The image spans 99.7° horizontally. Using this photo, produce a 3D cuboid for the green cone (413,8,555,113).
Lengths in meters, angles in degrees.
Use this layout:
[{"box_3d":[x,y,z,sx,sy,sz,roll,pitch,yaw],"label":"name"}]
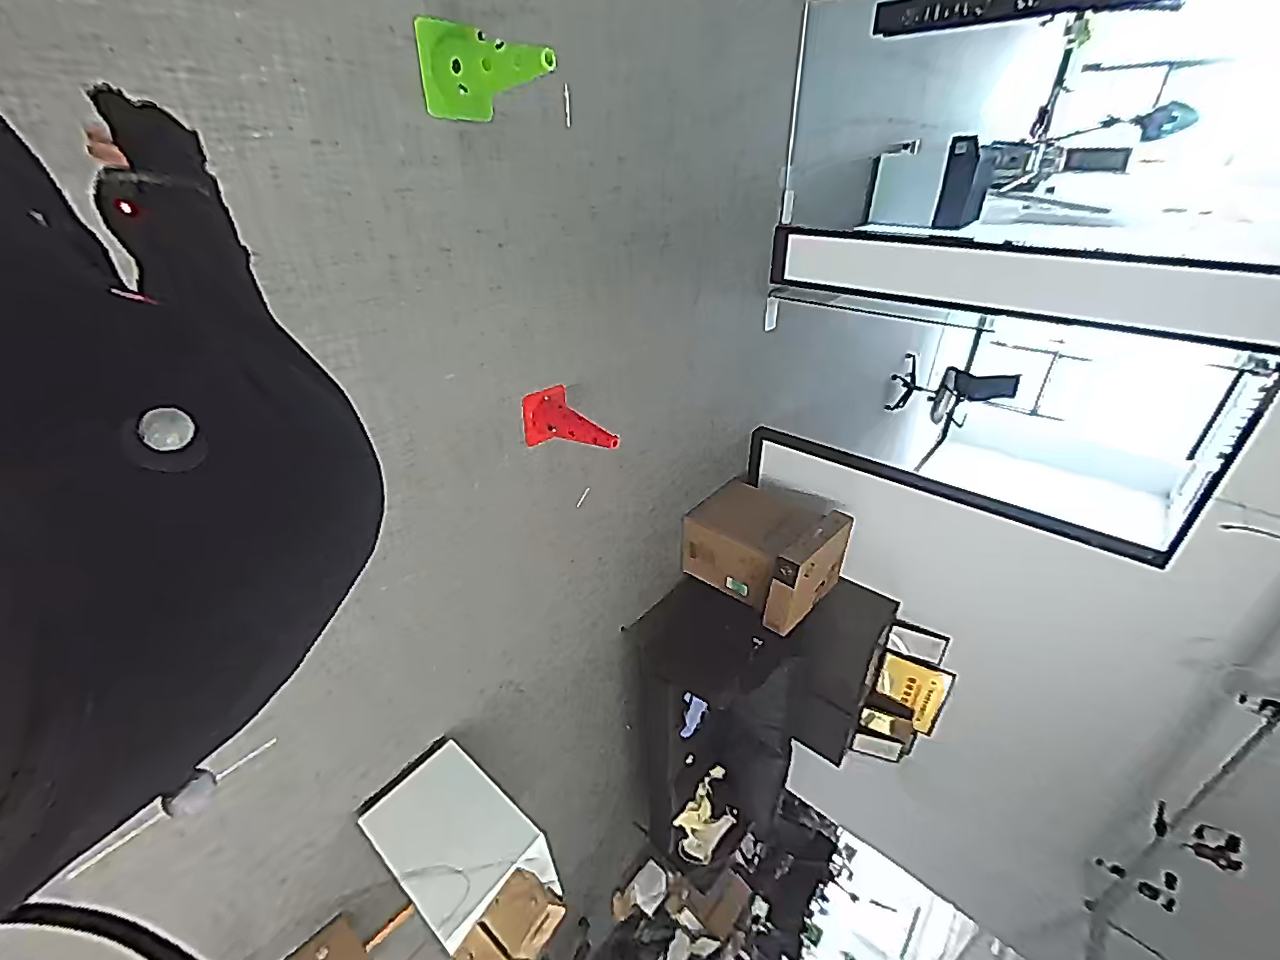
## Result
[{"box_3d":[-0.339,-0.988,1.270,0.200,0.368,0.202,-32,135,-41],"label":"green cone"}]
